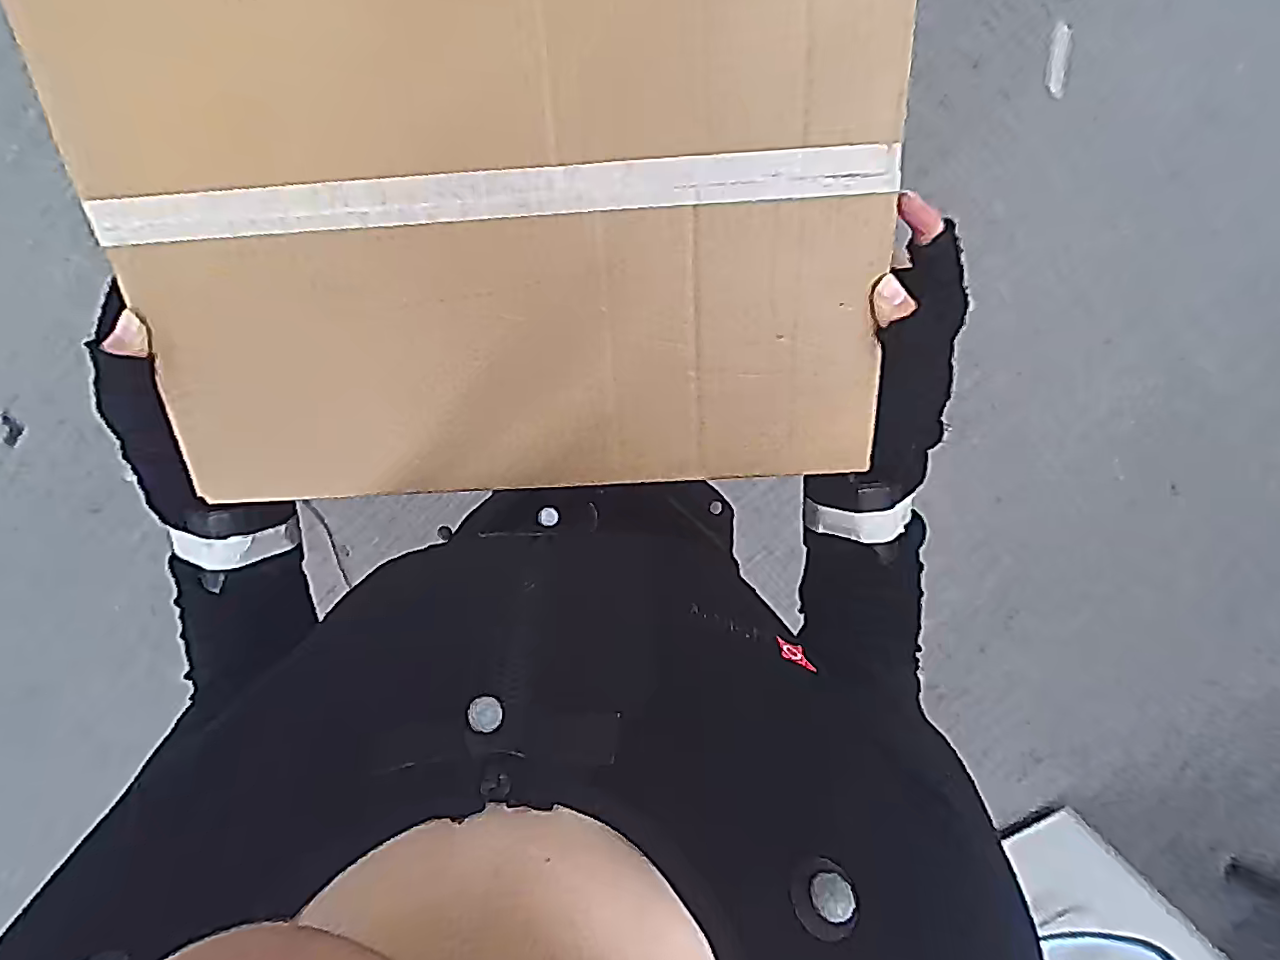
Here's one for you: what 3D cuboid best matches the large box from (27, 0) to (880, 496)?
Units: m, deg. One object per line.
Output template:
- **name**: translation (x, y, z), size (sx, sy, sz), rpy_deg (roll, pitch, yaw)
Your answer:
- **large box**: translation (-0.082, -0.201, 0.419), size (0.408, 0.320, 0.320), rpy_deg (-4, 112, 2)
